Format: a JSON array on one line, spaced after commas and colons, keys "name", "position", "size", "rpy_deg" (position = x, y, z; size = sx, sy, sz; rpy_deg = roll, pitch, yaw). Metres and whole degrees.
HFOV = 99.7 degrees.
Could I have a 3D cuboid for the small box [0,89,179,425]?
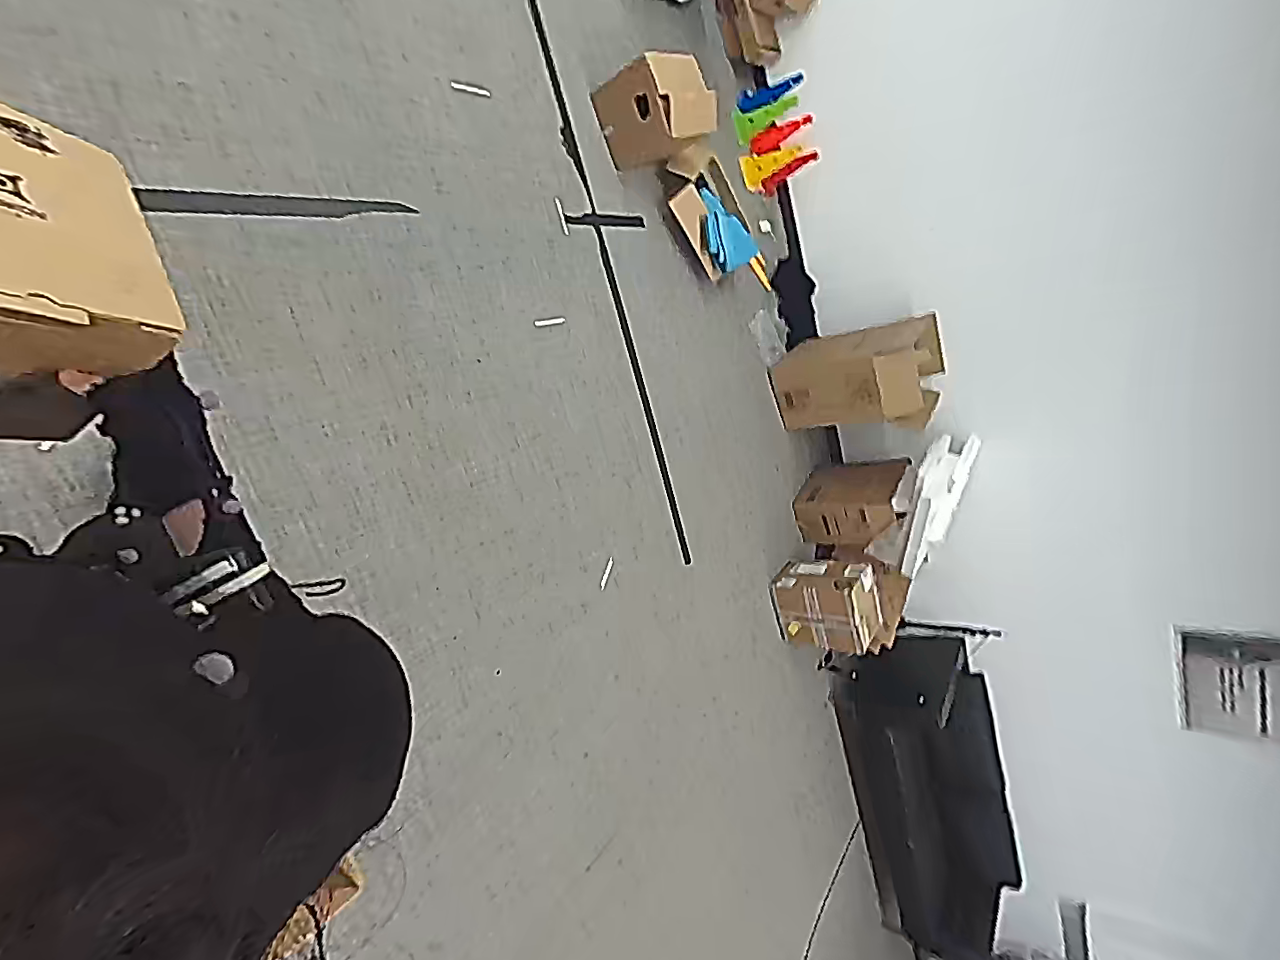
[{"name": "small box", "position": [-0.473, -0.152, 0.359], "size": [0.179, 0.176, 0.168], "rpy_deg": [63, 16, 7]}]
